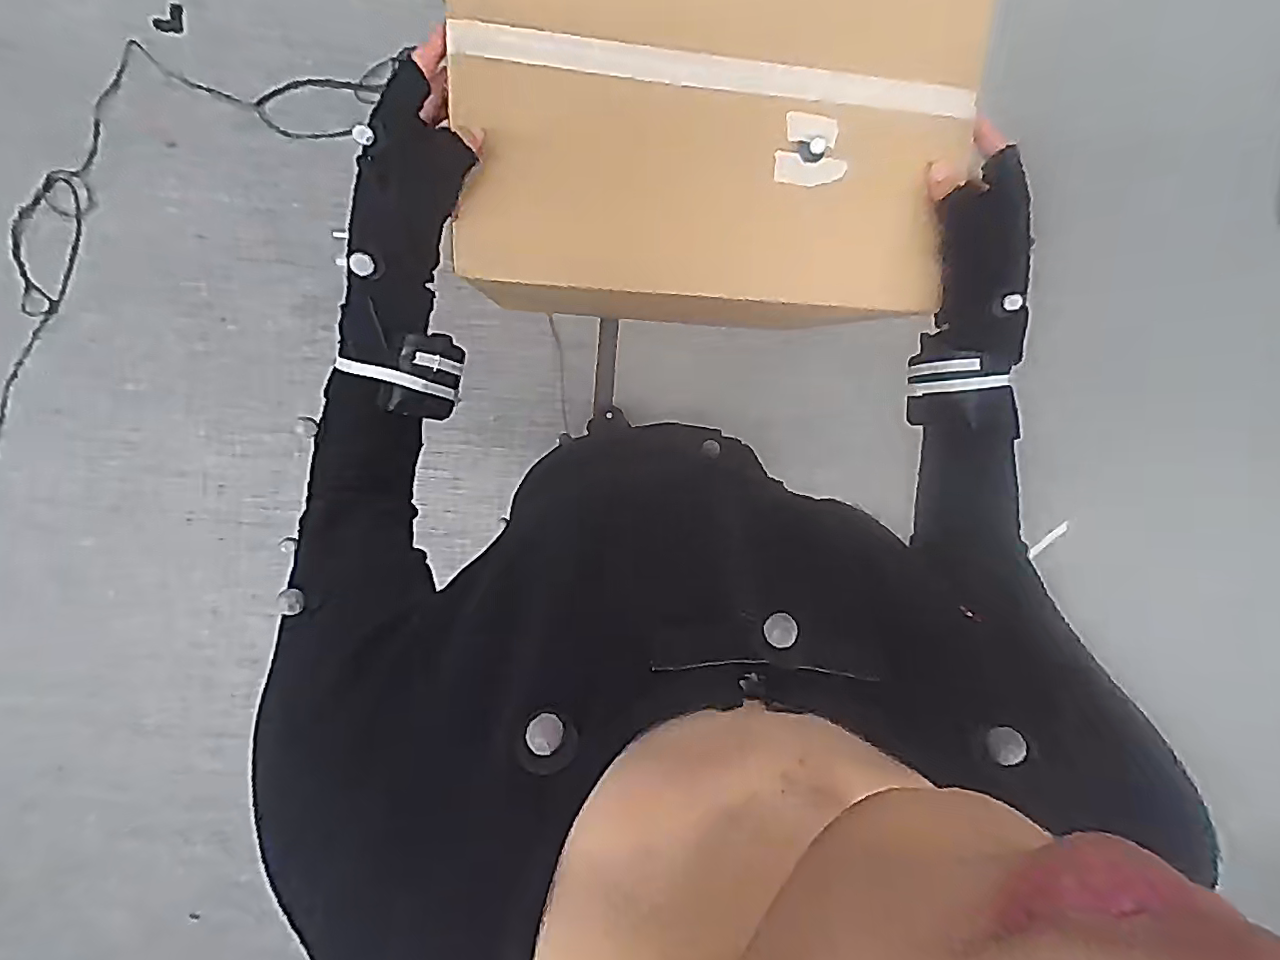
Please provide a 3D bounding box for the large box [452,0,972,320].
[{"bbox_3d":[0.039,-0.341,0.557,0.408,0.320,0.320,0,103,-9],"label":"large box"}]
